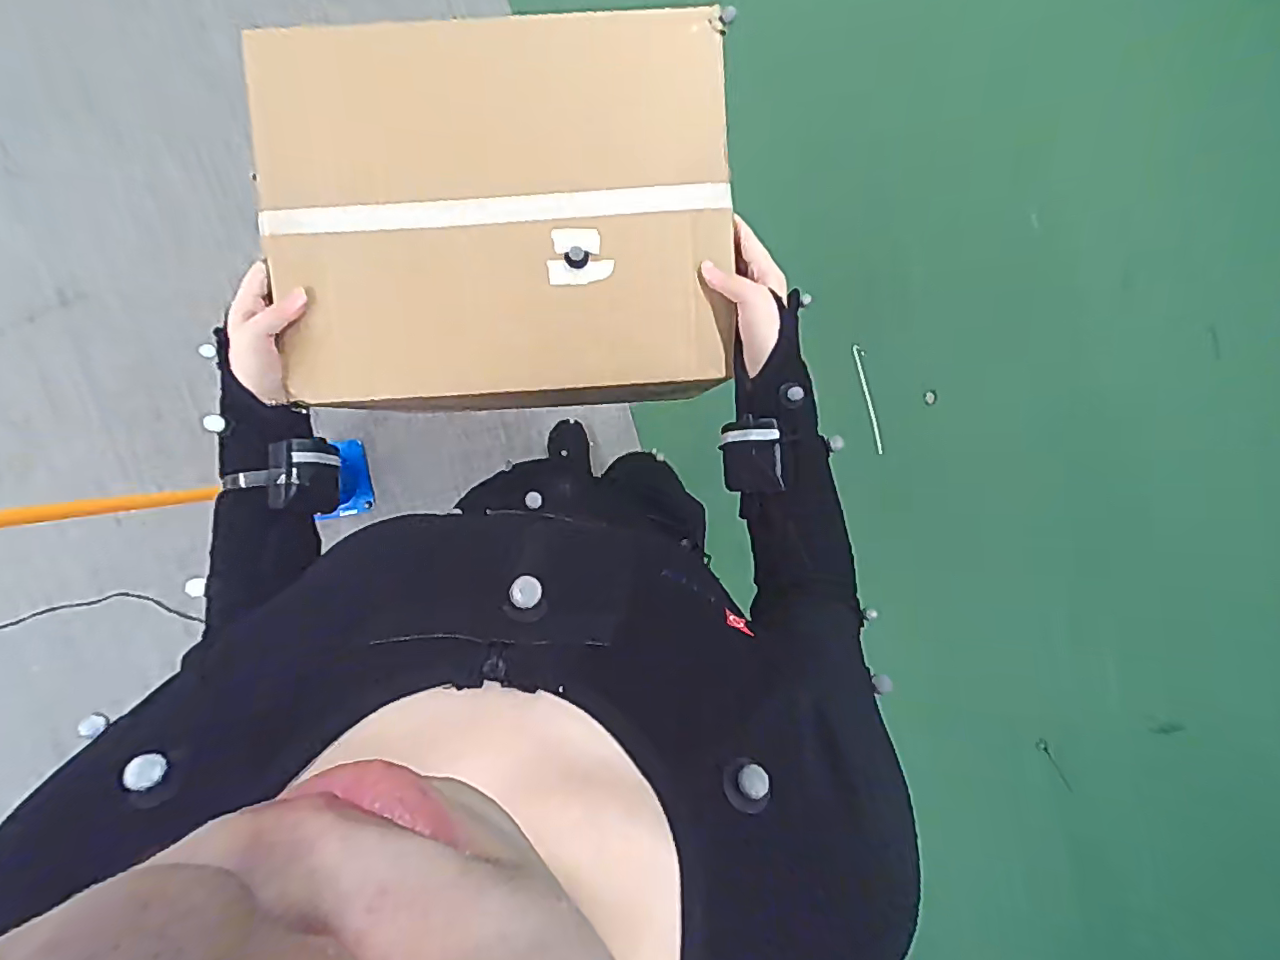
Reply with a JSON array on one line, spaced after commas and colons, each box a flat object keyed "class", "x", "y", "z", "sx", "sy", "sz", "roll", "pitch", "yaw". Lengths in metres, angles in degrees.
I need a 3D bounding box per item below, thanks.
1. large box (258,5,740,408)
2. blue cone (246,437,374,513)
[{"class": "large box", "x": -0.124, "y": -0.260, "z": 0.626, "sx": 0.408, "sy": 0.320, "sz": 0.320, "roll": -4, "pitch": 96, "yaw": -2}, {"class": "blue cone", "x": -0.814, "y": -0.003, "z": 1.291, "sx": 0.192, "sy": 0.380, "sz": 0.193, "roll": -9, "pitch": 94, "yaw": -4}]
